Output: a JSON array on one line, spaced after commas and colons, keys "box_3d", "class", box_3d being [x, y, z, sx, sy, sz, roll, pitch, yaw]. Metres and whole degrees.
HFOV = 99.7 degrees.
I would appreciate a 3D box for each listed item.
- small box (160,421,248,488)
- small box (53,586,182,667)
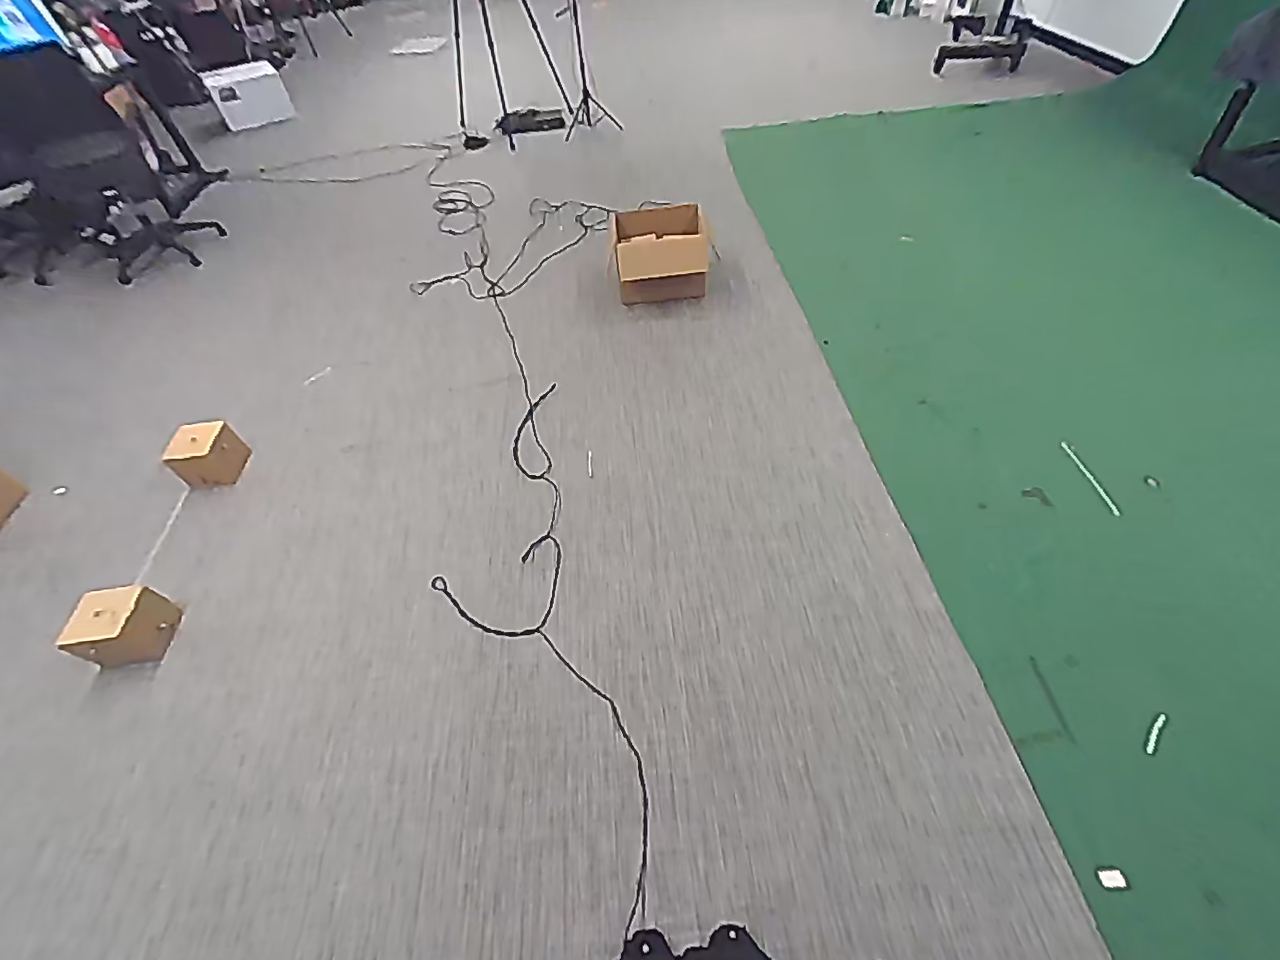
[{"box_3d": [-1.610, -0.094, 2.013, 0.168, 0.176, 0.179, -7, 52, -1], "class": "small box"}, {"box_3d": [-1.518, 0.433, 1.584, 0.179, 0.176, 0.168, -8, 52, -1], "class": "small box"}]
